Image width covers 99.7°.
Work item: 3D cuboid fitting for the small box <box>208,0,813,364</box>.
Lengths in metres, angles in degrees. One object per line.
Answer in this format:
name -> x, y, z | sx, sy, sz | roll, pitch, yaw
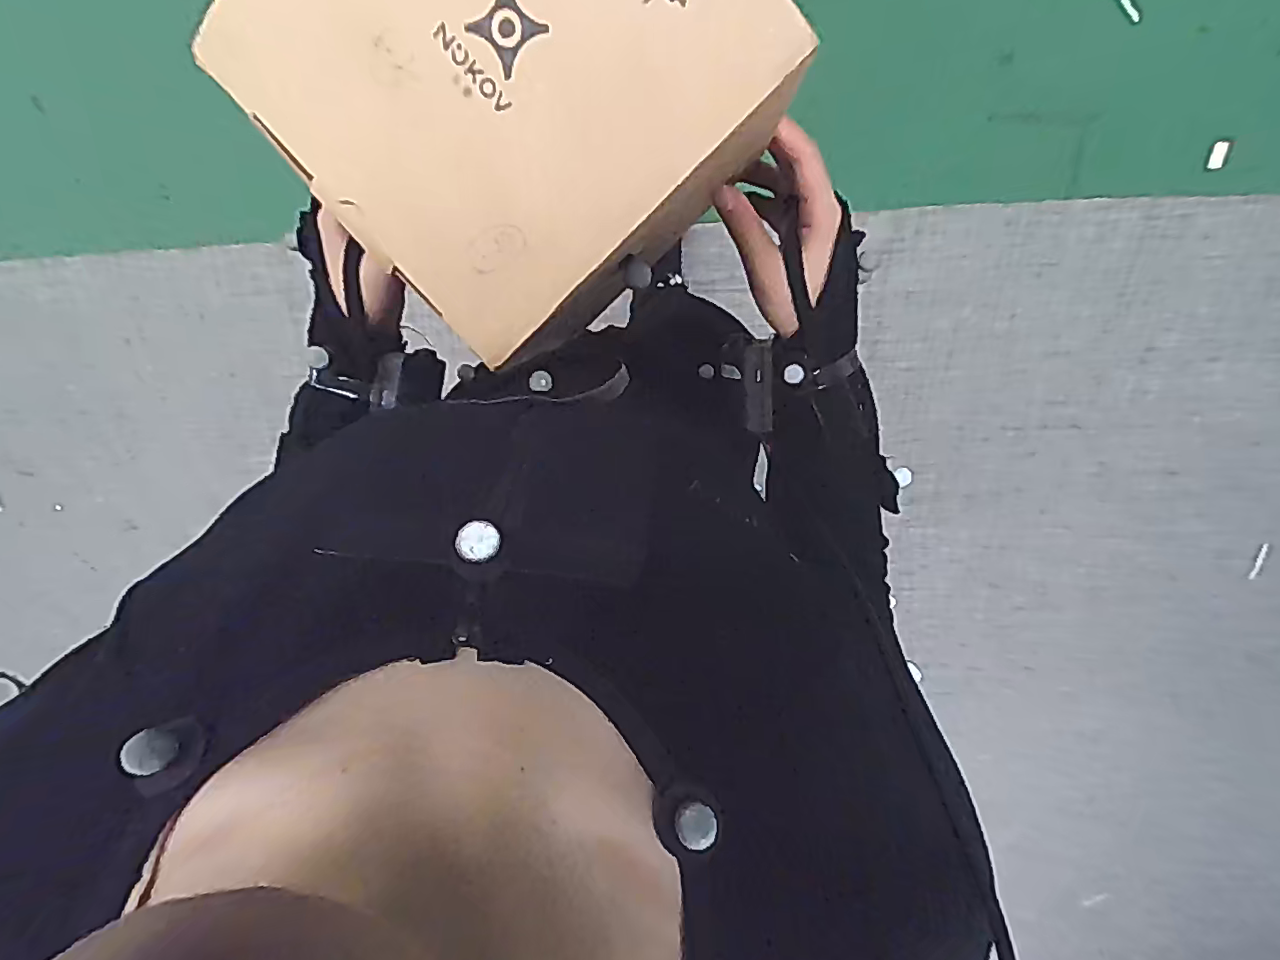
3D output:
small box -> -0.044, -0.184, 0.274 | 0.179, 0.176, 0.168 | -39, 101, 16
